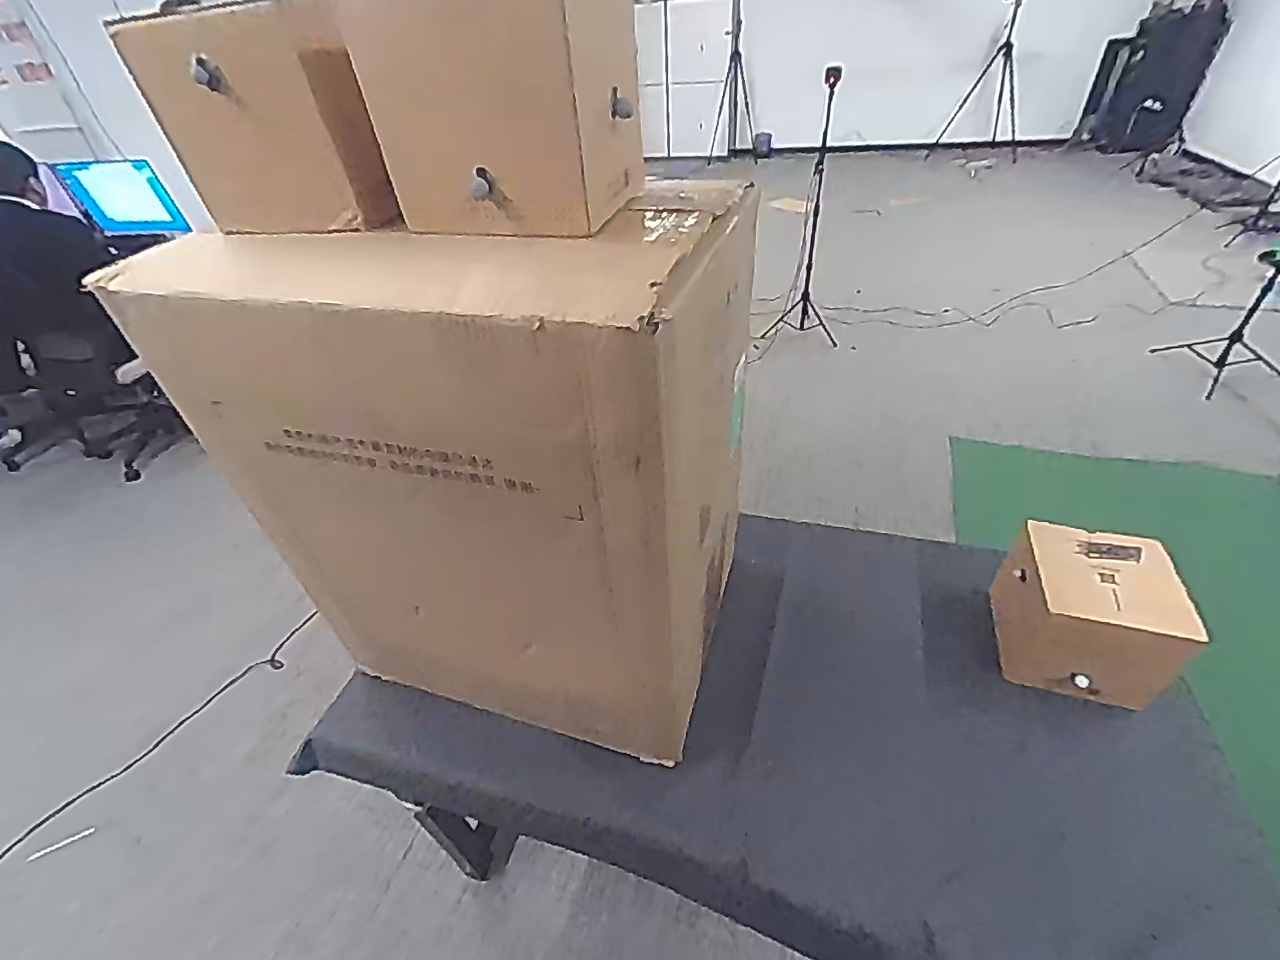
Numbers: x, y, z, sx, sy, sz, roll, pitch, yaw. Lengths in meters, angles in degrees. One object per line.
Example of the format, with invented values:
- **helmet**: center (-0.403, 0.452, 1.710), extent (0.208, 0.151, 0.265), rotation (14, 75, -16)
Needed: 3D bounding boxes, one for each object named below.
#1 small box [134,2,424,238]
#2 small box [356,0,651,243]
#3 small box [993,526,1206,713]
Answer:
- **small box**: center (-0.305, -0.348, 0.529), extent (0.179, 0.176, 0.168), rotation (6, 44, 13)
- **small box**: center (-0.093, -0.317, 0.469), extent (0.179, 0.176, 0.168), rotation (8, 42, 14)
- **small box**: center (0.635, 0.198, 0.780), extent (0.168, 0.176, 0.179), rotation (9, 42, 18)
